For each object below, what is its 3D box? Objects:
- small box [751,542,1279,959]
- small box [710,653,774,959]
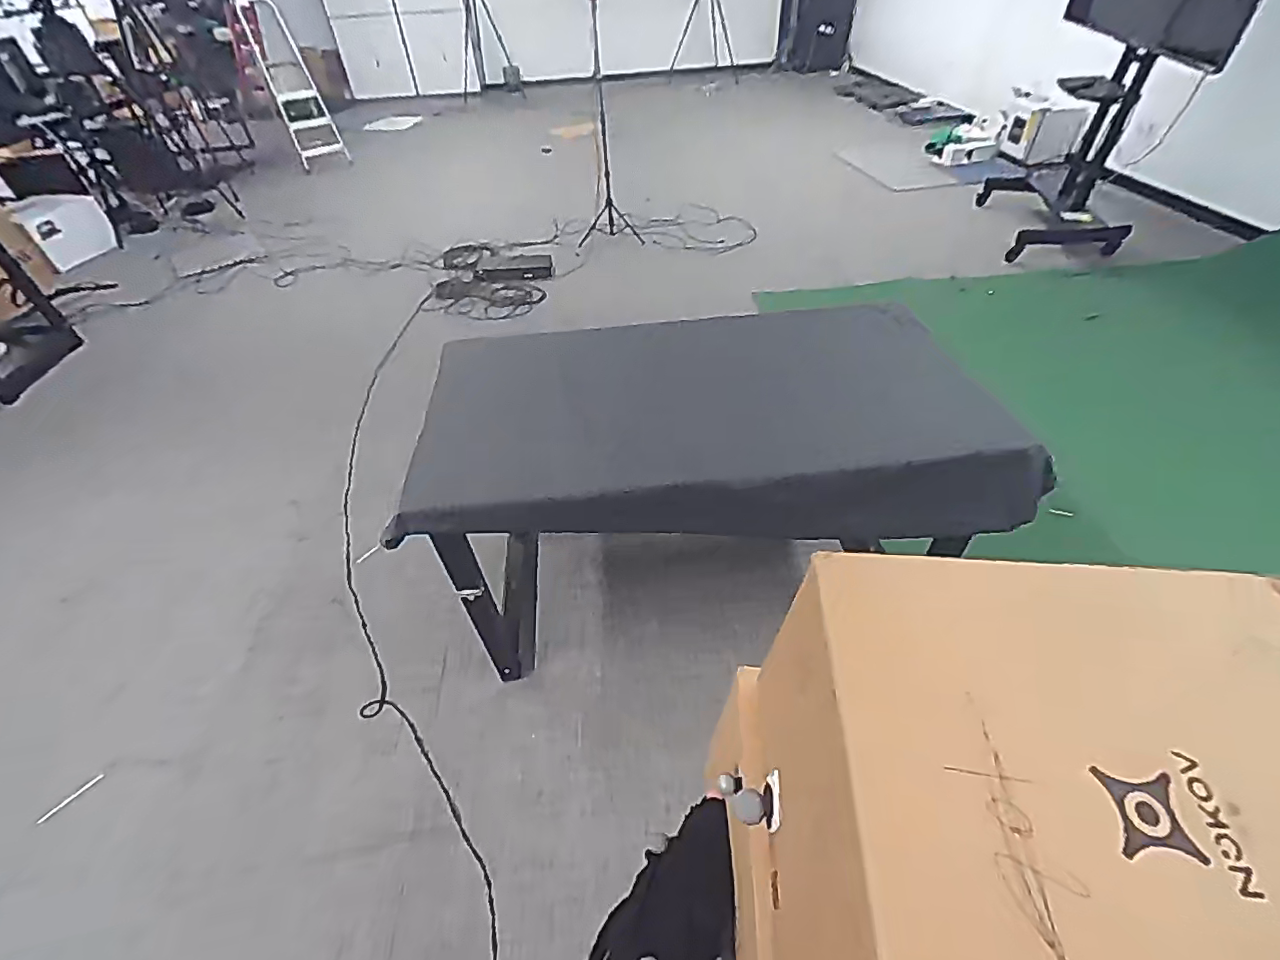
[{"bbox_3d":[0.150,0.143,0.228,0.179,0.176,0.168,1,50,3],"label":"small box"},{"bbox_3d":[0.146,0.232,0.365,0.179,0.176,0.168,2,50,2],"label":"small box"}]
